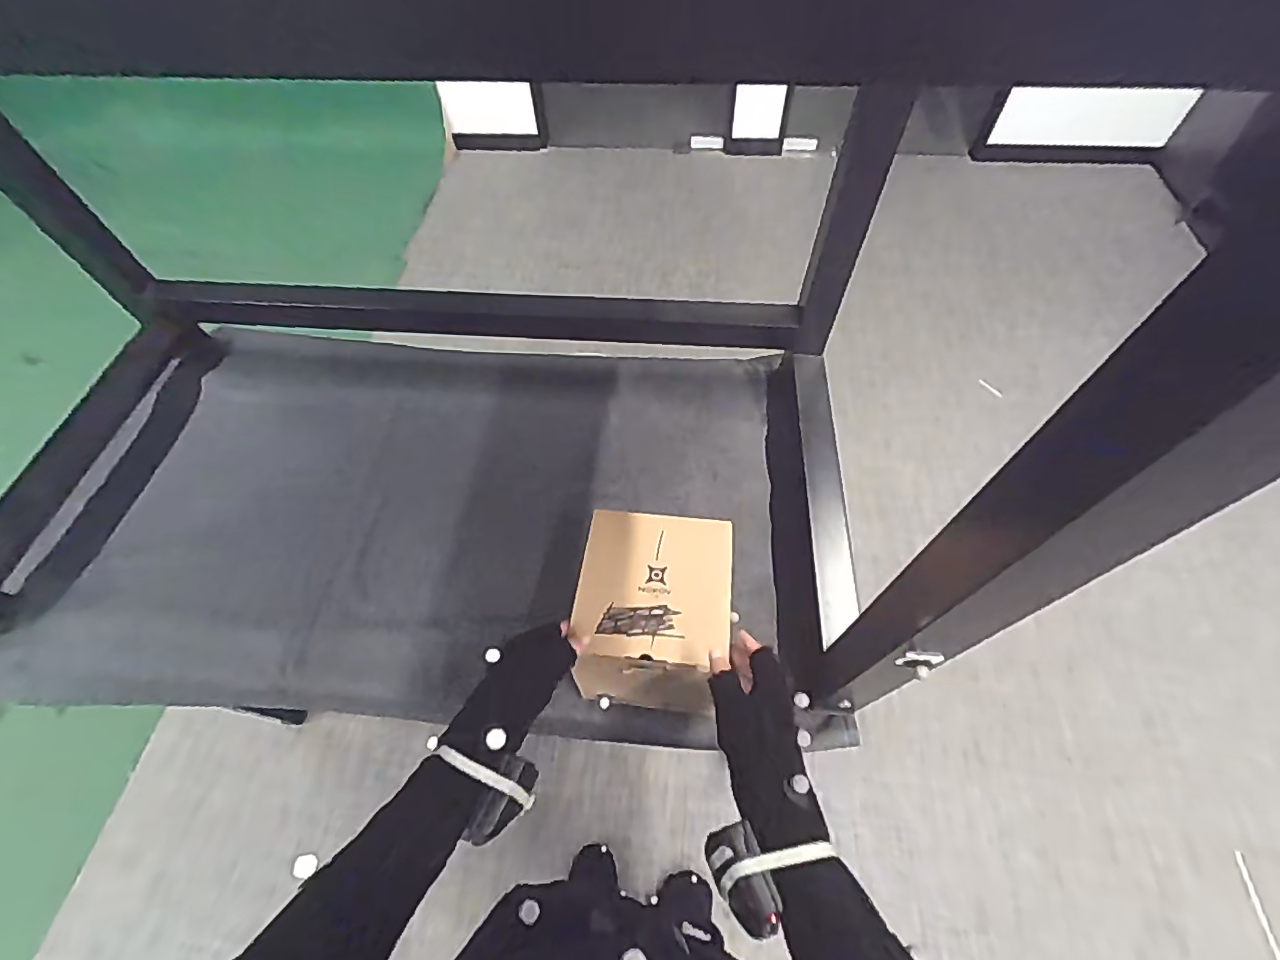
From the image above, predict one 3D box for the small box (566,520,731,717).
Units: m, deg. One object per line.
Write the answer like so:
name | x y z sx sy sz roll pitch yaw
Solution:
small box | 0.019 0.172 0.657 0.168 0.176 0.179 5 52 6
